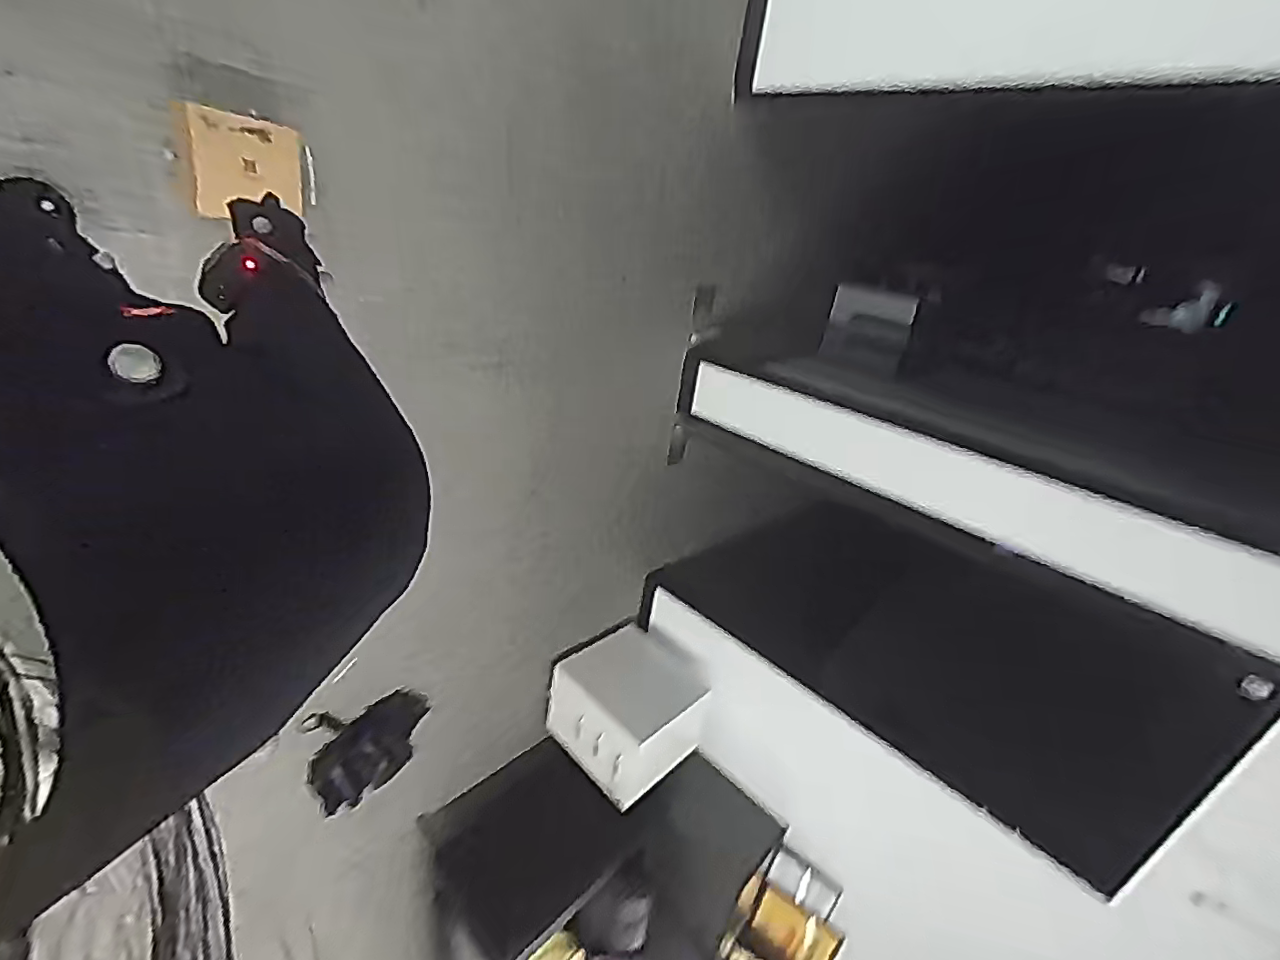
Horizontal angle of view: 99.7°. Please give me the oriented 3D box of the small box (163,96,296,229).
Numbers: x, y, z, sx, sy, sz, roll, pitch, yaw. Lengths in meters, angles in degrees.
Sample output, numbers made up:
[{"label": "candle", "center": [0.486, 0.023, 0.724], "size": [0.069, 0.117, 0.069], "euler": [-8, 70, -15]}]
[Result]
[{"label": "small box", "center": [-0.768, -0.592, 1.017], "size": [0.168, 0.176, 0.179], "euler": [-12, 123, -47]}]
